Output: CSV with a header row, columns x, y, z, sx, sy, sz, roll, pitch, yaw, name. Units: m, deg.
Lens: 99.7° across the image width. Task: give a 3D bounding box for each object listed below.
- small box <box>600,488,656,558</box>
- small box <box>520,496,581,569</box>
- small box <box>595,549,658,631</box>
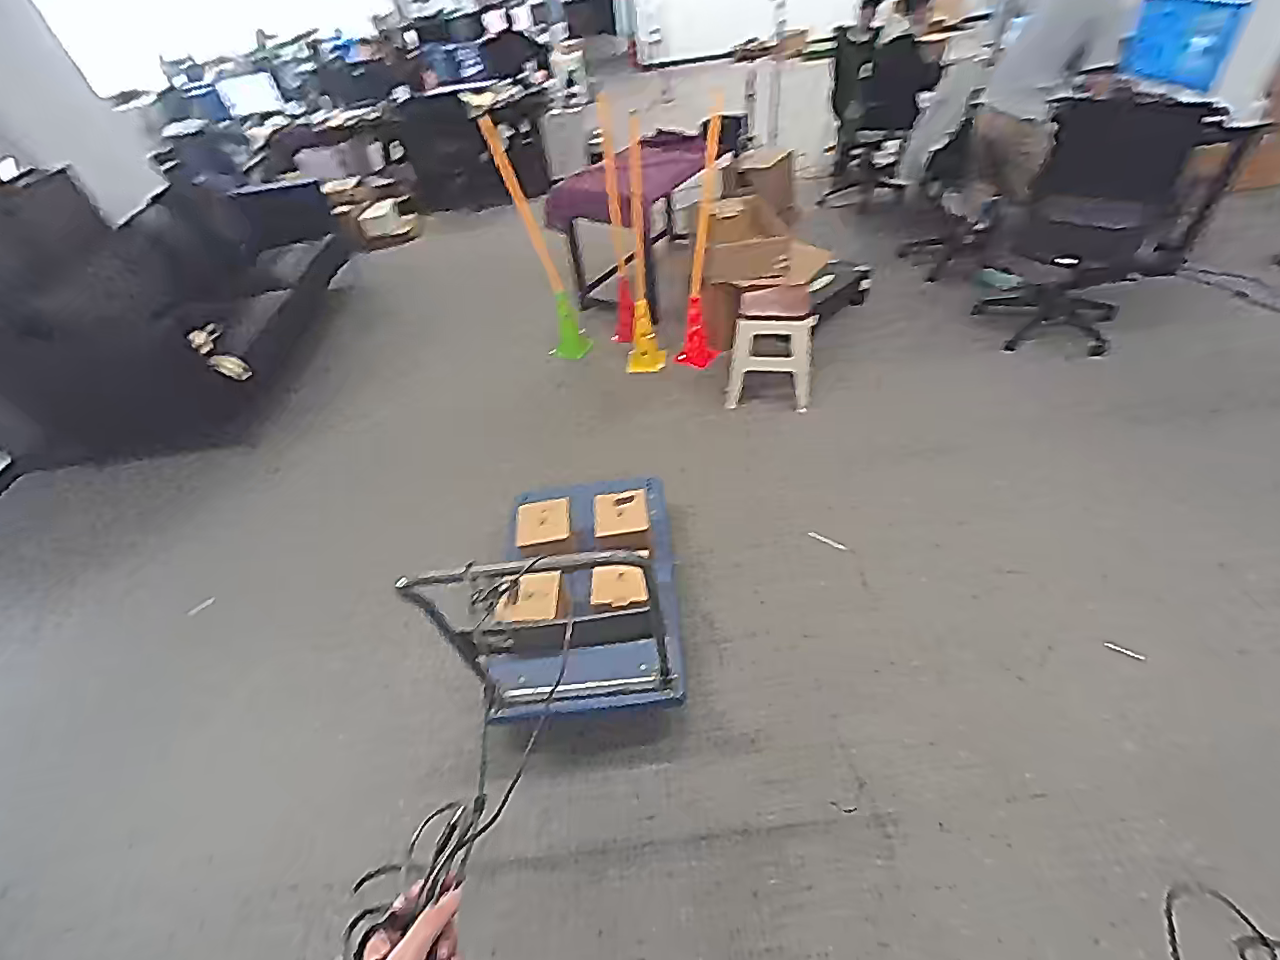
x,y,z,sx,sy,sz,roll,pitch,yaw,name
-0.040,0.152,1.793,0.168,0.176,0.179,-8,46,3,small box
-0.293,0.182,1.808,0.168,0.176,0.179,-9,45,1,small box
-0.037,0.330,1.620,0.168,0.176,0.179,-5,46,5,small box
